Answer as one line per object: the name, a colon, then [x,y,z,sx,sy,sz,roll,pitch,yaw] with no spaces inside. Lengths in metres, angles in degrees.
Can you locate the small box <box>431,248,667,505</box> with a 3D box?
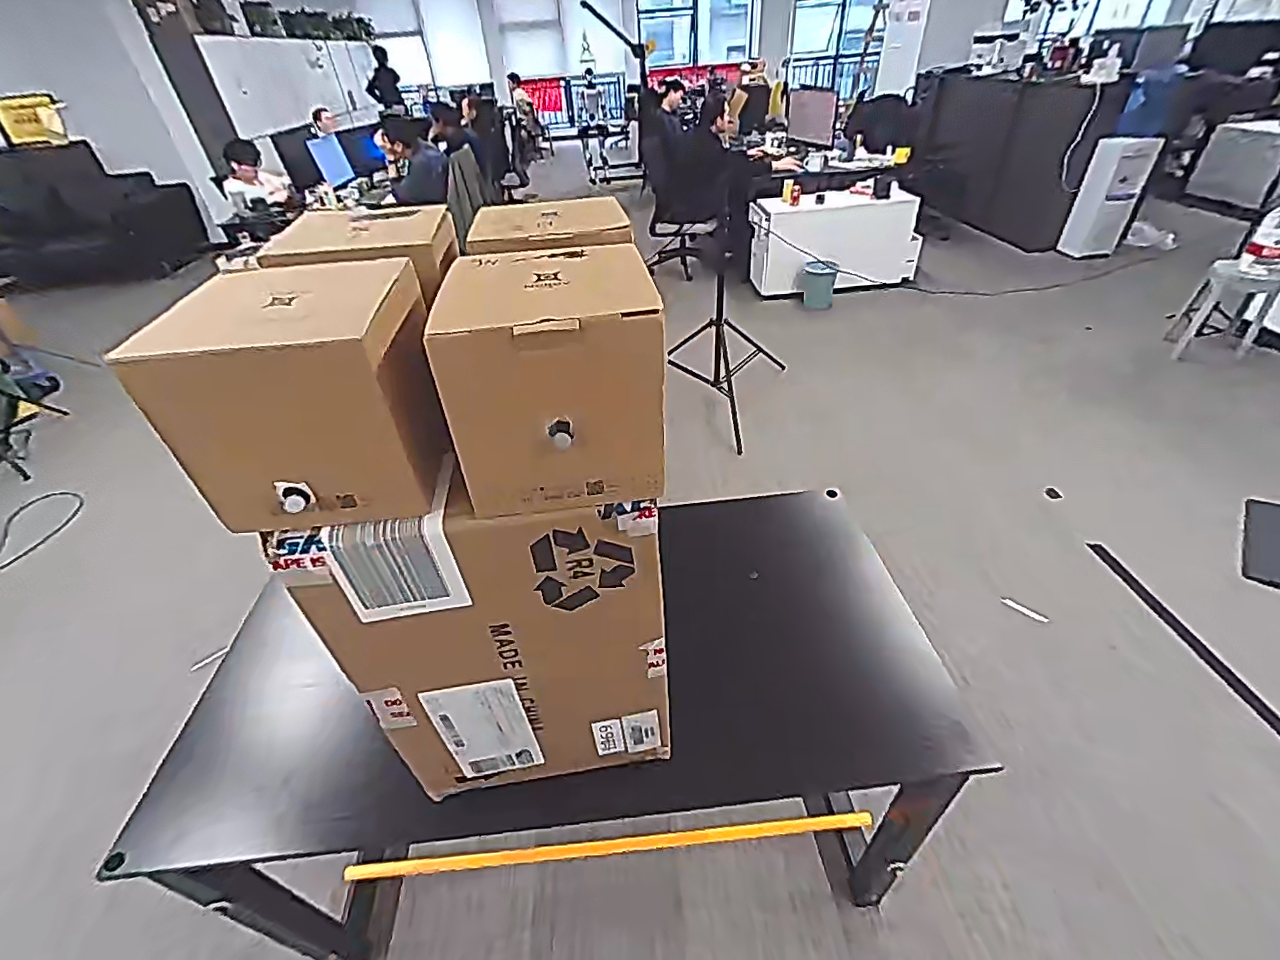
small box: [-0.068,-0.090,0.481,0.168,0.176,0.179,-5,40,-6]
